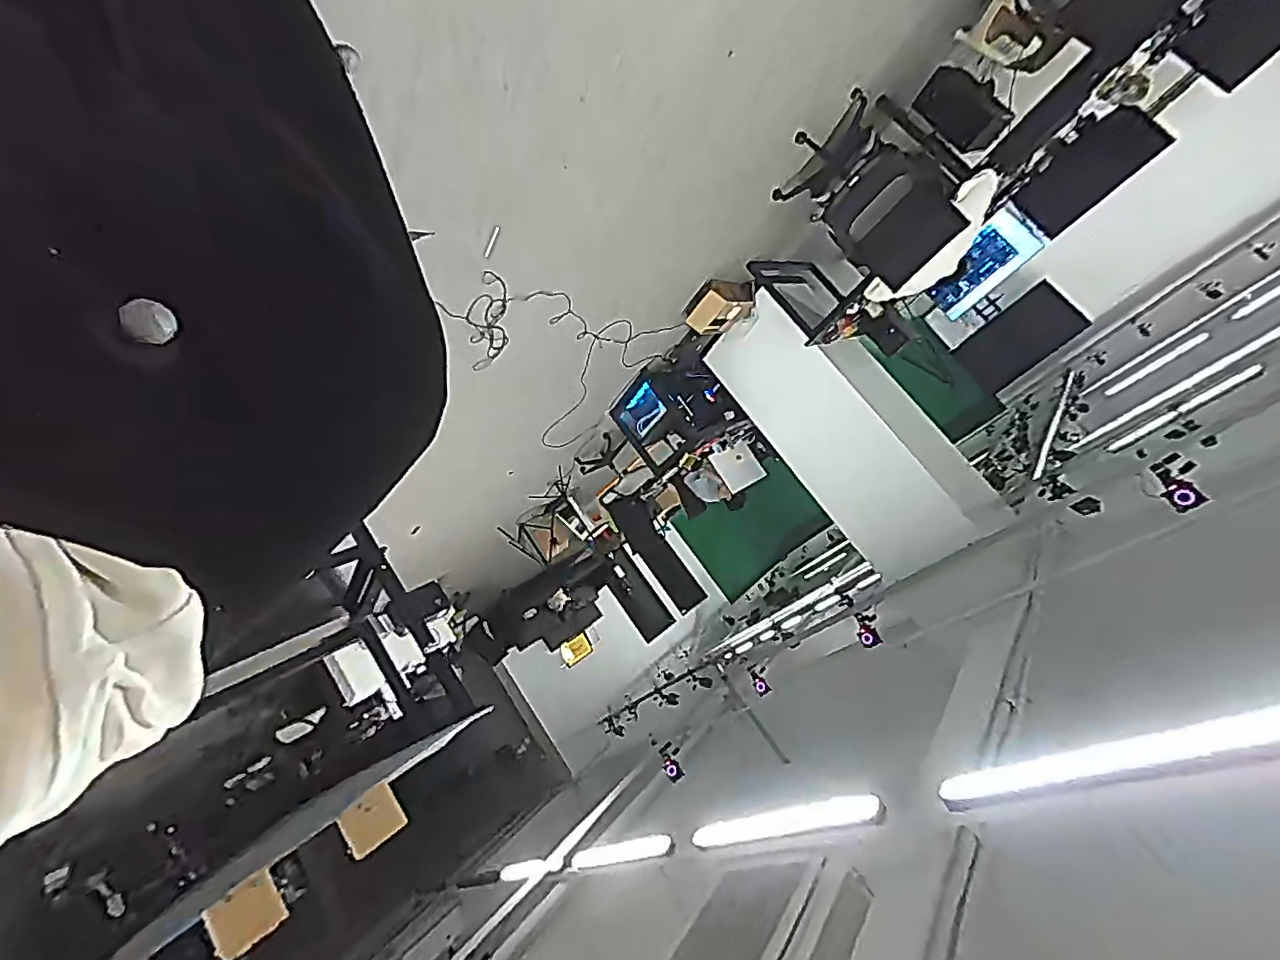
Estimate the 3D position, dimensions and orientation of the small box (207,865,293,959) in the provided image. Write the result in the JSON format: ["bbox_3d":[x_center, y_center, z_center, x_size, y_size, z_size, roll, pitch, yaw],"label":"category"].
[{"bbox_3d":[-1.187,1.315,1.647,0.168,0.176,0.179,-25,164,-44],"label":"small box"}]

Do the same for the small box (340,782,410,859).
[{"bbox_3d":[-0.963,1.228,1.957,0.168,0.176,0.179,-26,163,-44],"label":"small box"}]
